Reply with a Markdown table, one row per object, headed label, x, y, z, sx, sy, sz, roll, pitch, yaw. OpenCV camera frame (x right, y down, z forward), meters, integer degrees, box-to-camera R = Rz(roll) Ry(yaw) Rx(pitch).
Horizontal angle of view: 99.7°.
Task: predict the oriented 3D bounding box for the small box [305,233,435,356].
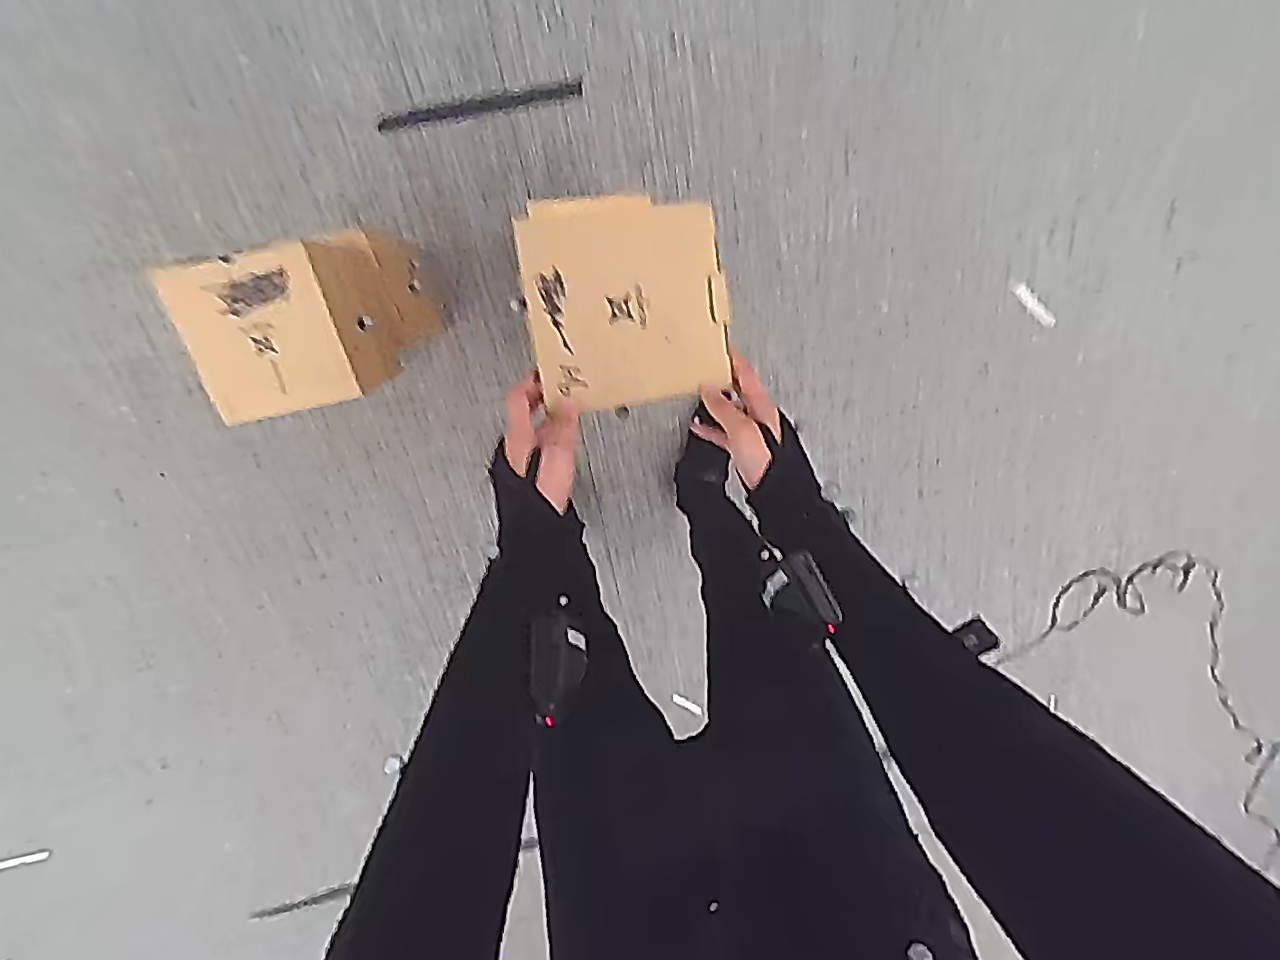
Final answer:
| label | x | y | z | sx | sy | sz | roll | pitch | yaw |
| --- | --- | --- | --- | --- | --- | --- | --- | --- | --- |
| small box | -0.442 | -0.262 | 0.825 | 0.179 | 0.176 | 0.168 | -16 | 111 | -2 |

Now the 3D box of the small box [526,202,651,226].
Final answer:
| label | x | y | z | sx | sy | sz | roll | pitch | yaw |
| --- | --- | --- | --- | --- | --- | --- | --- | --- | --- |
| small box | -0.076 | -0.333 | 0.855 | 0.179 | 0.176 | 0.168 | -7 | 111 | -6 |

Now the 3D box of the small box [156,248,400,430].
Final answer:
| label | x | y | z | sx | sy | sz | roll | pitch | yaw |
| --- | --- | --- | --- | --- | --- | --- | --- | --- | --- |
| small box | -0.430 | -0.181 | 0.681 | 0.168 | 0.176 | 0.179 | -12 | 112 | -2 |

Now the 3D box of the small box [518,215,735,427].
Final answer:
| label | x | y | z | sx | sy | sz | roll | pitch | yaw |
| --- | --- | --- | --- | --- | --- | --- | --- | --- | --- |
| small box | -0.024 | -0.148 | 0.544 | 0.179 | 0.176 | 0.168 | -10 | 98 | -10 |

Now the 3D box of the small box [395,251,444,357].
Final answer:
| label | x | y | z | sx | sy | sz | roll | pitch | yaw |
| --- | --- | --- | --- | --- | --- | --- | --- | --- | --- |
| small box | -0.476 | -0.312 | 0.978 | 0.168 | 0.176 | 0.179 | -15 | 112 | -2 |
